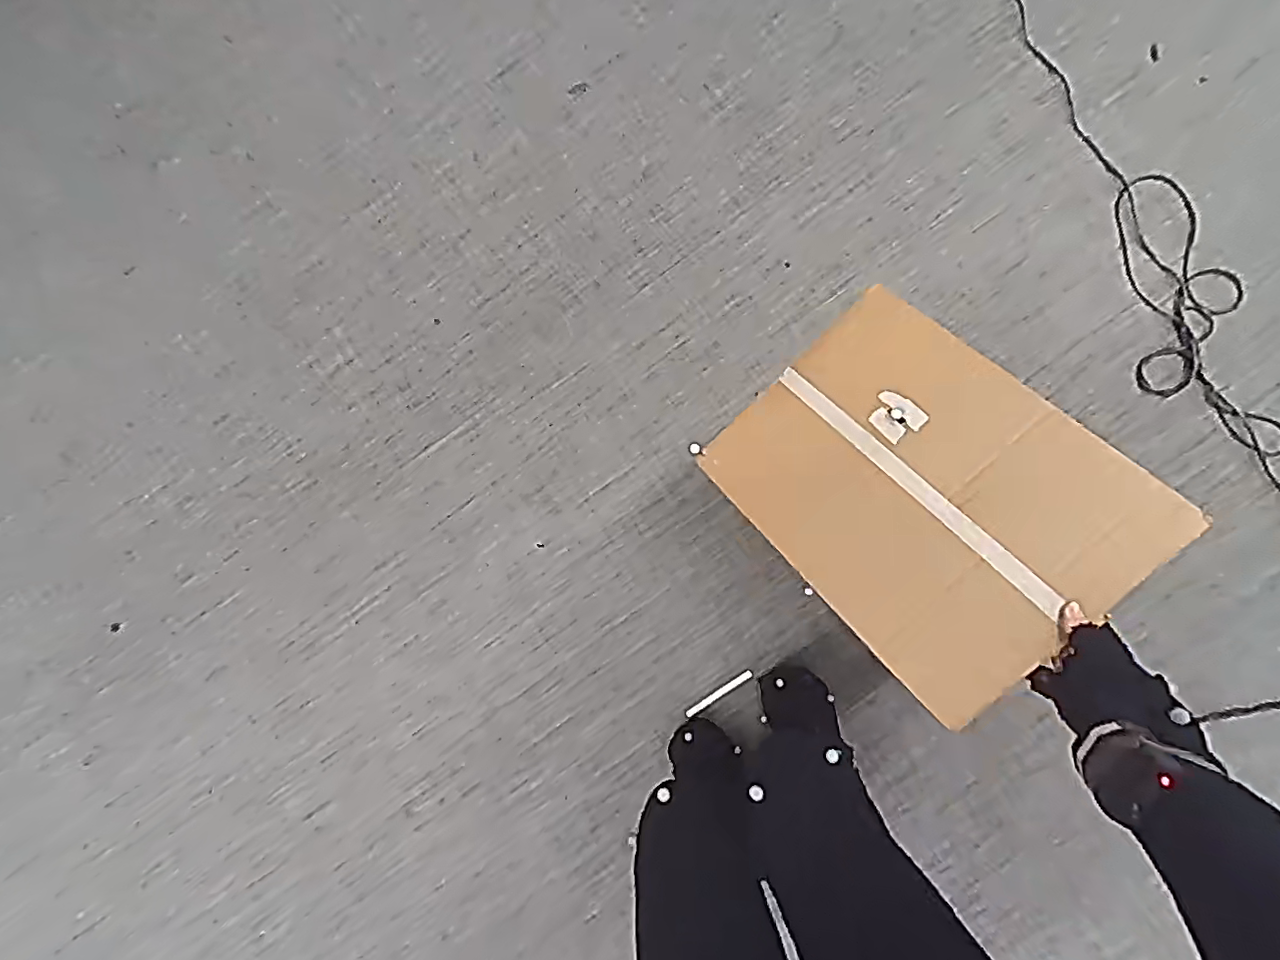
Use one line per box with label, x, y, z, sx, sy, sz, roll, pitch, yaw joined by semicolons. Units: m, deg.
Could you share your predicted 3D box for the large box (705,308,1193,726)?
large box;0.366;0.053;0.753;0.320;0.320;0.408;-43;66;6
